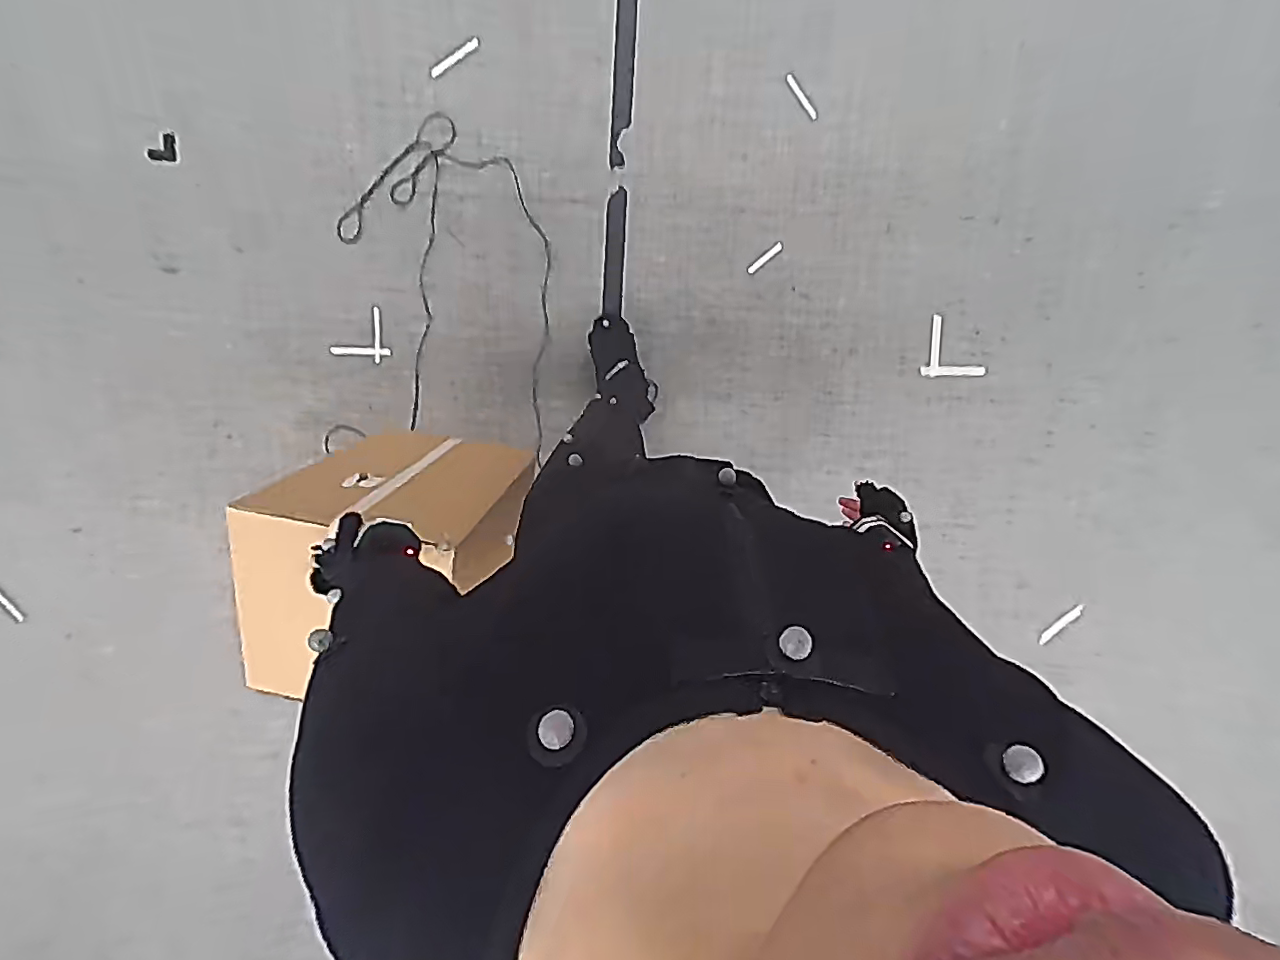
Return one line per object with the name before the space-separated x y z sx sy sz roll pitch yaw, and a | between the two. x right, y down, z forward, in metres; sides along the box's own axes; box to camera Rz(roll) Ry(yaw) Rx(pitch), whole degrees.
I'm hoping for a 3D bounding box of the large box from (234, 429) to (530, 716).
large box | -0.409 0.132 0.960 0.320 0.408 0.320 10 111 2
